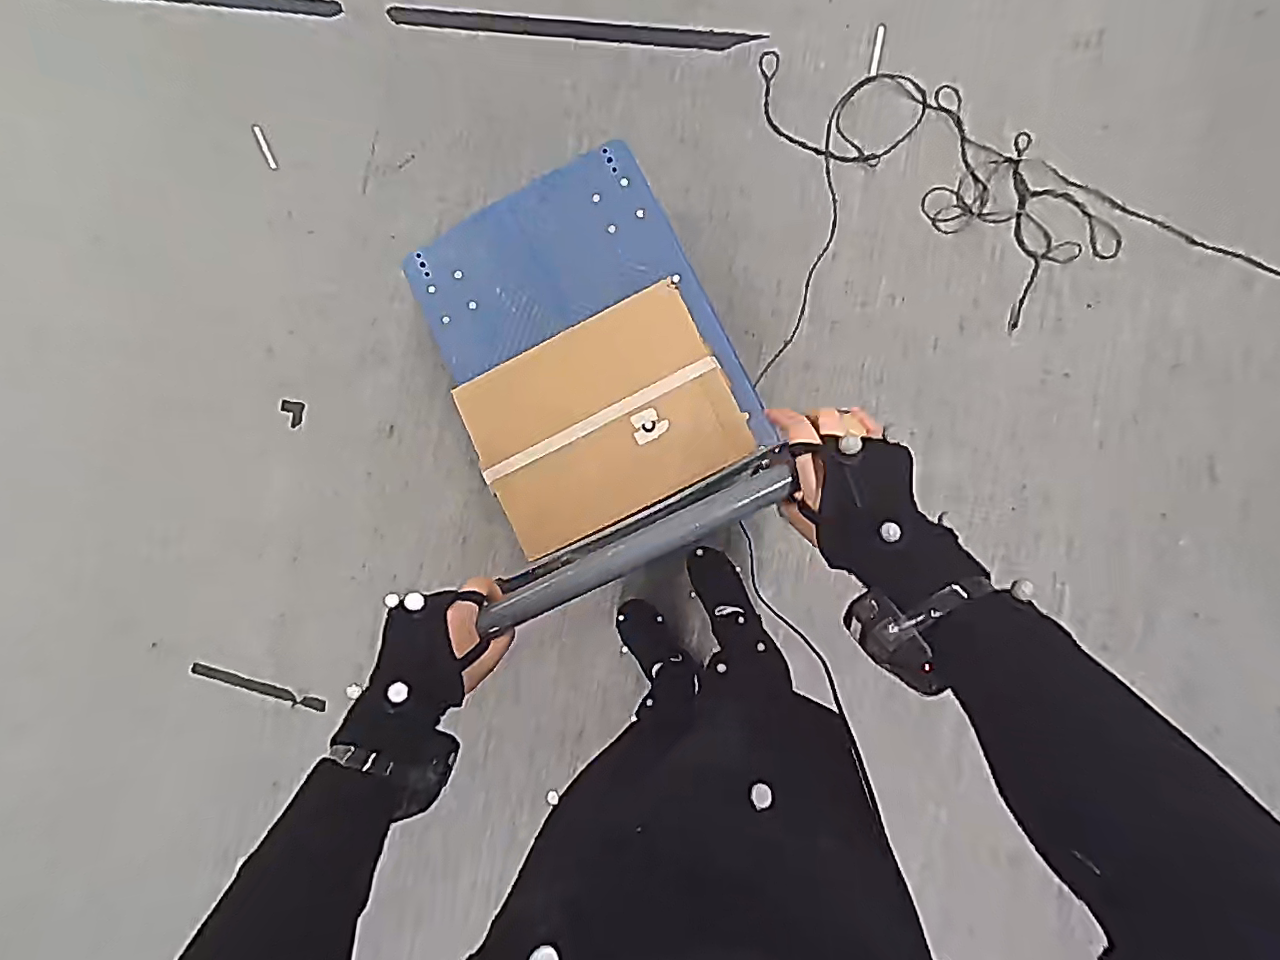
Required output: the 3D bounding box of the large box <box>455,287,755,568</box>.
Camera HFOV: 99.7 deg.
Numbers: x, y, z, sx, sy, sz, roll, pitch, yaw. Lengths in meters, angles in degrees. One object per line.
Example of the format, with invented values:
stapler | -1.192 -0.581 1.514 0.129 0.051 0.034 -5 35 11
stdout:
large box | -0.048 -0.072 1.000 0.408 0.320 0.320 -27 85 4
